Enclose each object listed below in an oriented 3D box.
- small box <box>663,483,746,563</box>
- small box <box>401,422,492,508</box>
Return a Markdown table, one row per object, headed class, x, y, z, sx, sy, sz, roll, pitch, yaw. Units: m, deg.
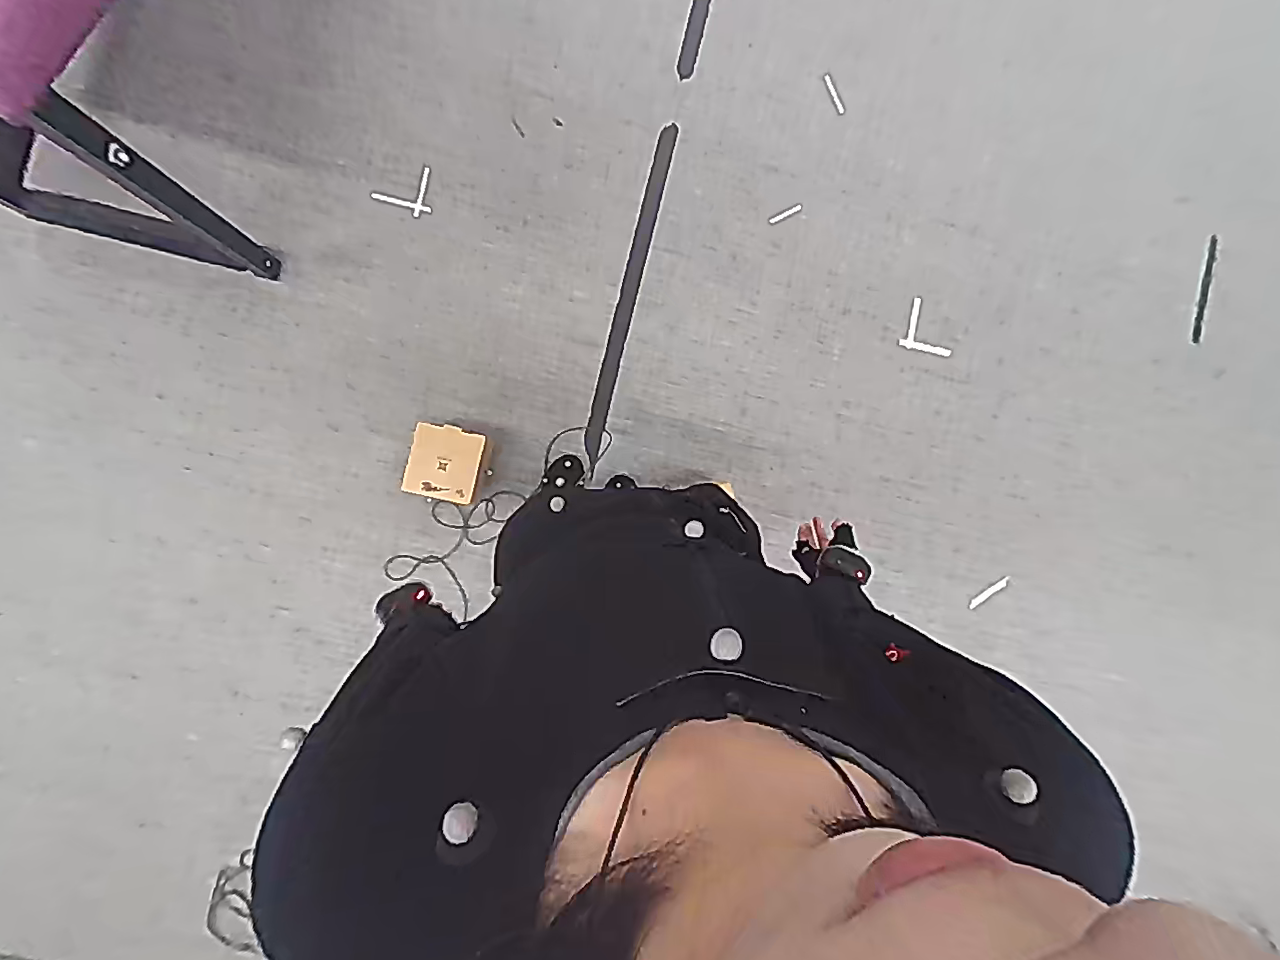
| class | x | y | z | sx | sy | sz | roll | pitch | yaw |
| --- | --- | --- | --- | --- | --- | --- | --- | --- | --- |
| small box | 0.168 | 0.111 | 1.465 | 0.168 | 0.176 | 0.179 | -15 | 93 | -6 |
| small box | -0.480 | -0.033 | 1.371 | 0.168 | 0.176 | 0.179 | 13 | 86 | -7 |
